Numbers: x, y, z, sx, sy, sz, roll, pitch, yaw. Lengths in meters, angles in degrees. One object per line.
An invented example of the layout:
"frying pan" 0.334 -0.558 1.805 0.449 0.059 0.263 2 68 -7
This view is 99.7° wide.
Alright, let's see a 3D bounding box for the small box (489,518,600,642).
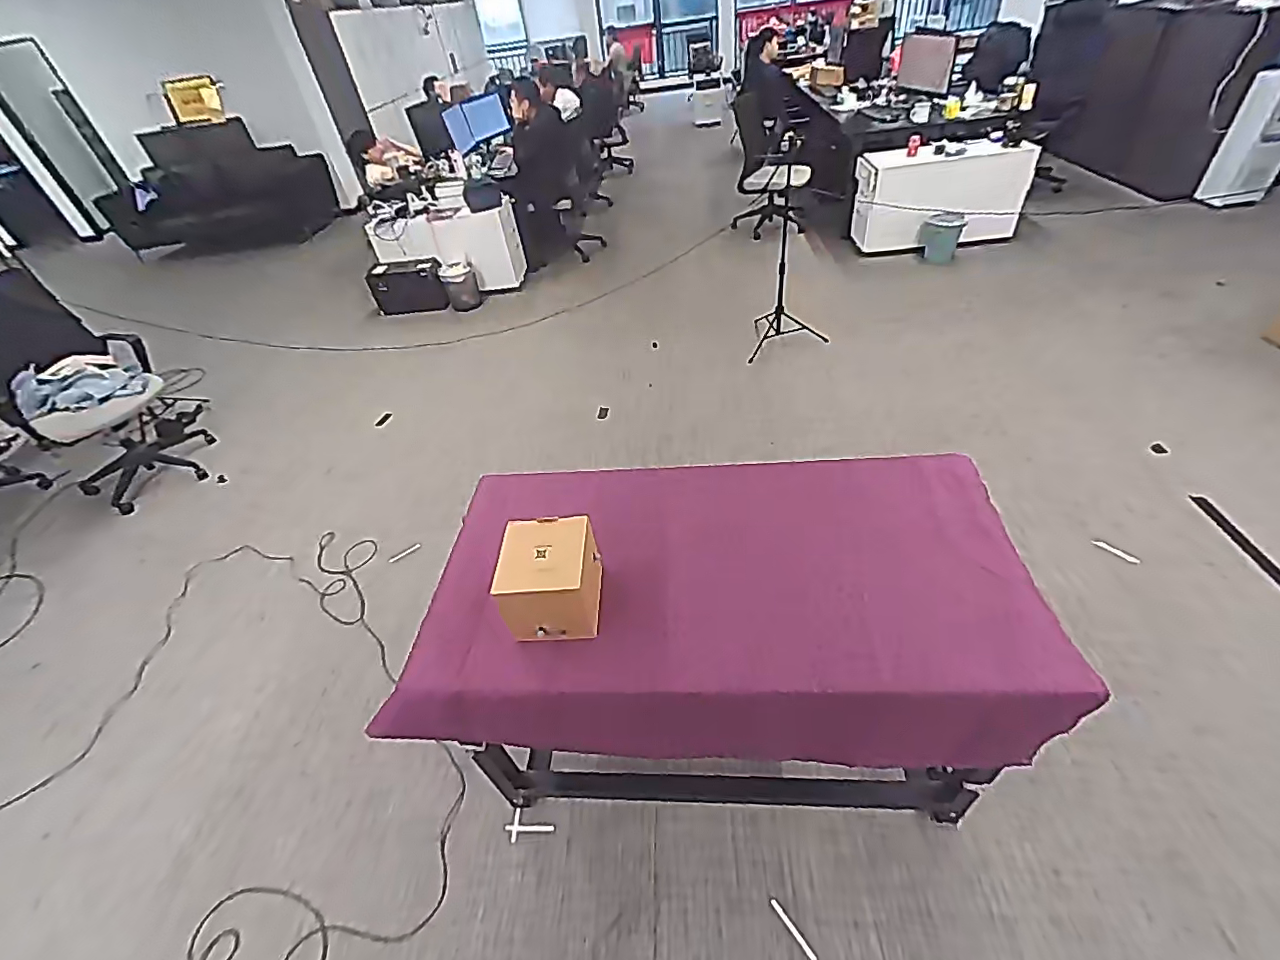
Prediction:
"small box" -0.176 0.196 1.060 0.168 0.176 0.179 -4 42 6
